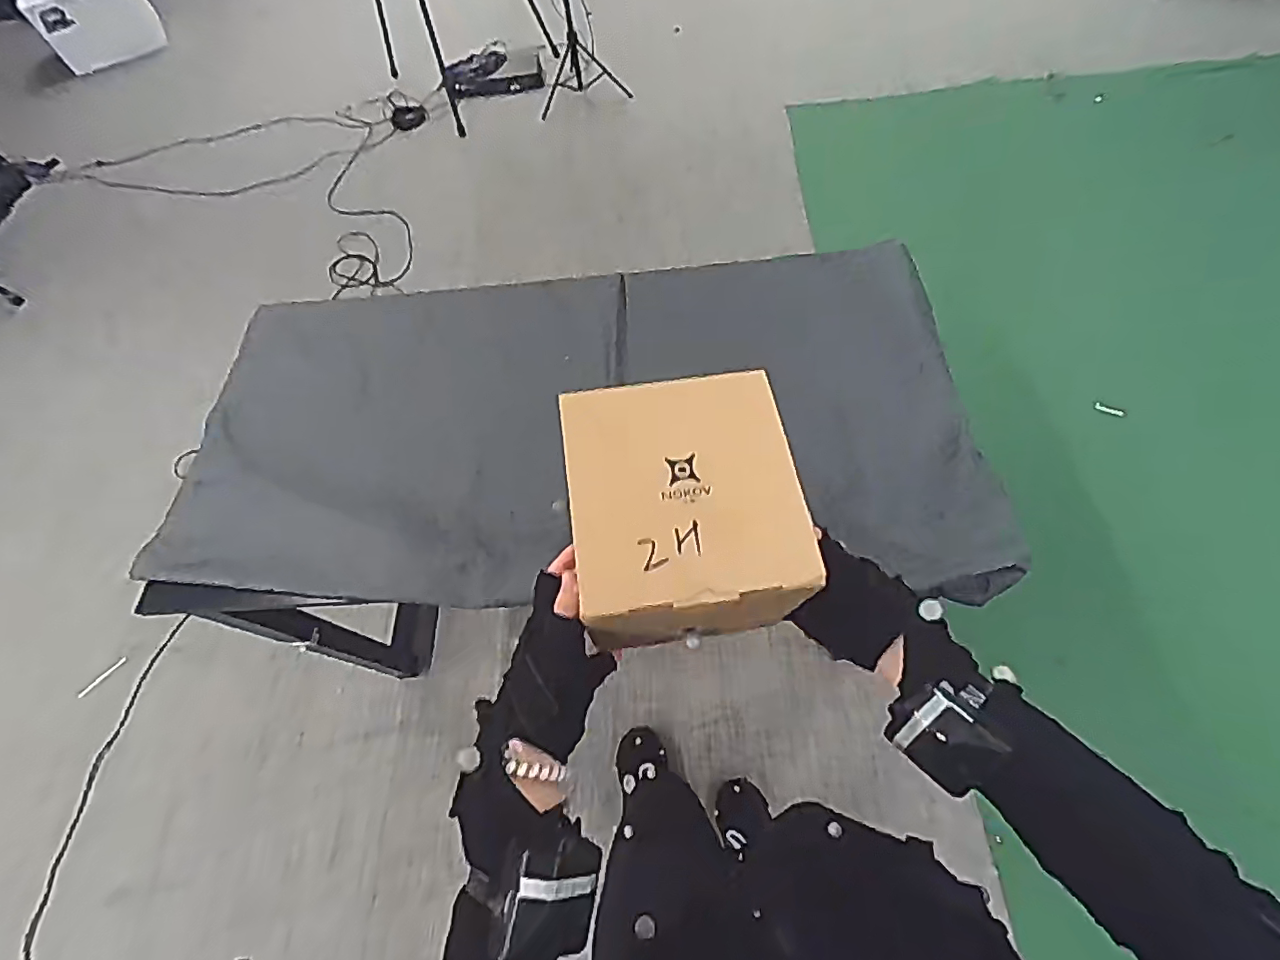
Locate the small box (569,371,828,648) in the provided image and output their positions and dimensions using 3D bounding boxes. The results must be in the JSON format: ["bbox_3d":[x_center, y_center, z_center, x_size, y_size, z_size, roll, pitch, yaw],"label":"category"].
[{"bbox_3d":[0.033,0.033,0.460,0.168,0.176,0.179,-7,65,-4],"label":"small box"}]
